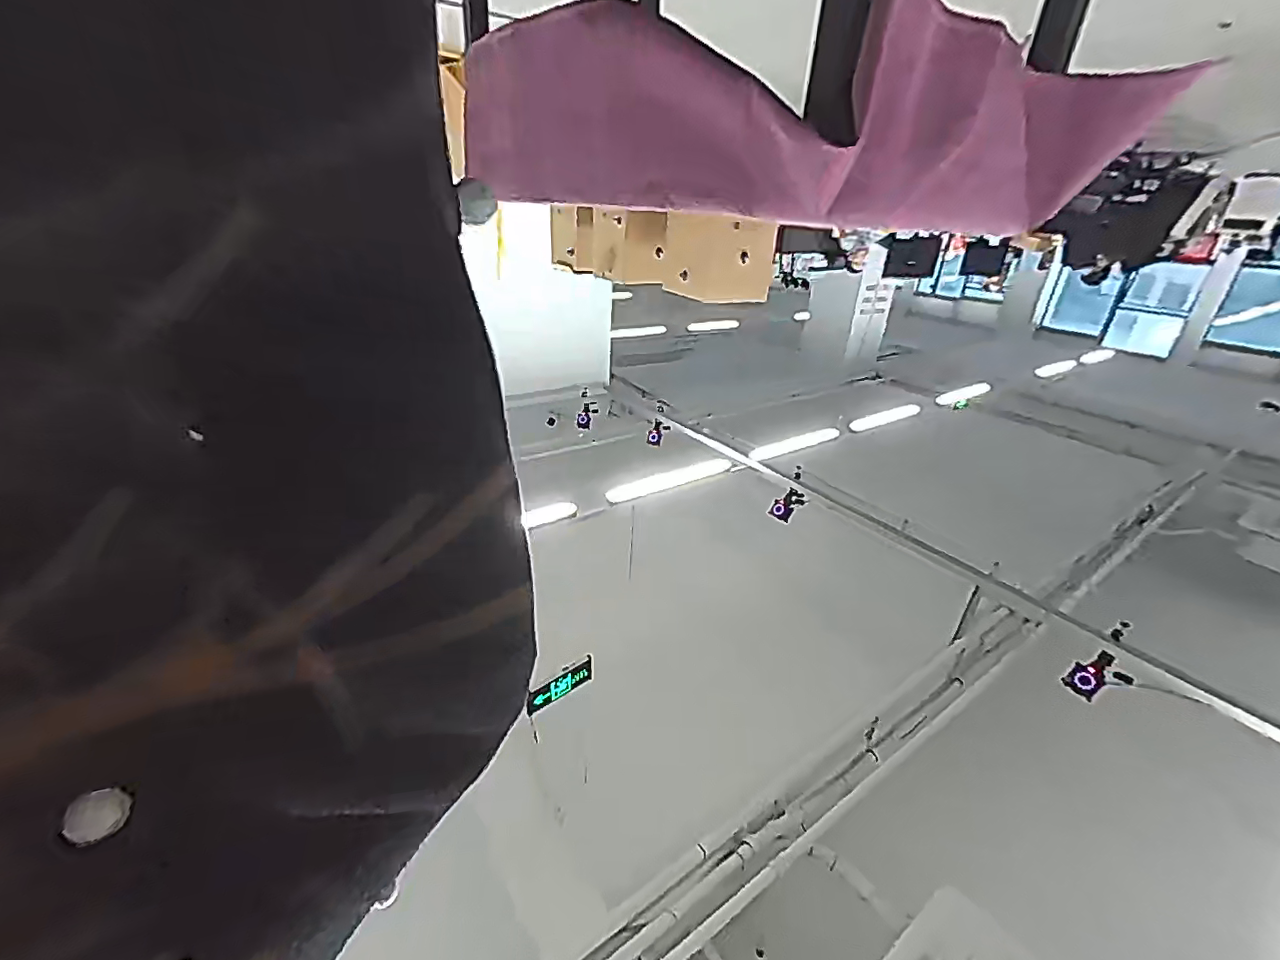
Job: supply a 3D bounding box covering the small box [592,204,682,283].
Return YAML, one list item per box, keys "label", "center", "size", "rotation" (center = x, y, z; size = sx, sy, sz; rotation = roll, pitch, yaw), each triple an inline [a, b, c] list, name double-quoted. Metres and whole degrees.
- label: "small box"
  center: [-0.009, -0.588, 1.337]
  size: [0.179, 0.176, 0.168]
  rotation: [-14, -148, -28]

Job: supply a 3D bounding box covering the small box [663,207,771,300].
- label: "small box"
  center: [0.162, -0.489, 1.159]
  size: [0.168, 0.176, 0.179]
  rotation: [-10, -150, -26]
